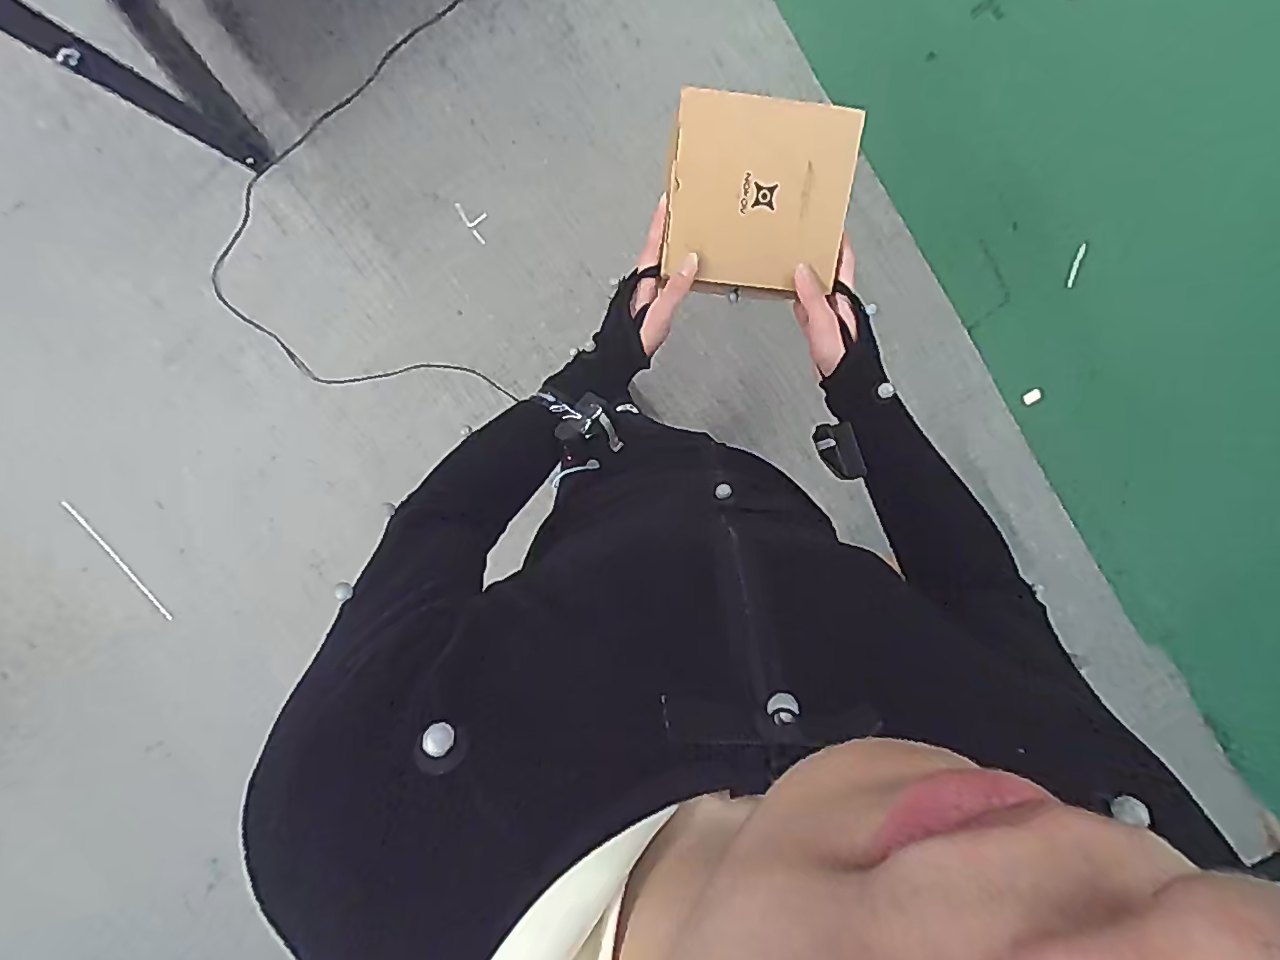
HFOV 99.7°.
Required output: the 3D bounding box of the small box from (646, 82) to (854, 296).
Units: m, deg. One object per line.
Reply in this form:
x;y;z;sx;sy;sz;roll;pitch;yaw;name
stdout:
0.102;-0.298;0.592;0.179;0.176;0.168;5;106;-3;small box
